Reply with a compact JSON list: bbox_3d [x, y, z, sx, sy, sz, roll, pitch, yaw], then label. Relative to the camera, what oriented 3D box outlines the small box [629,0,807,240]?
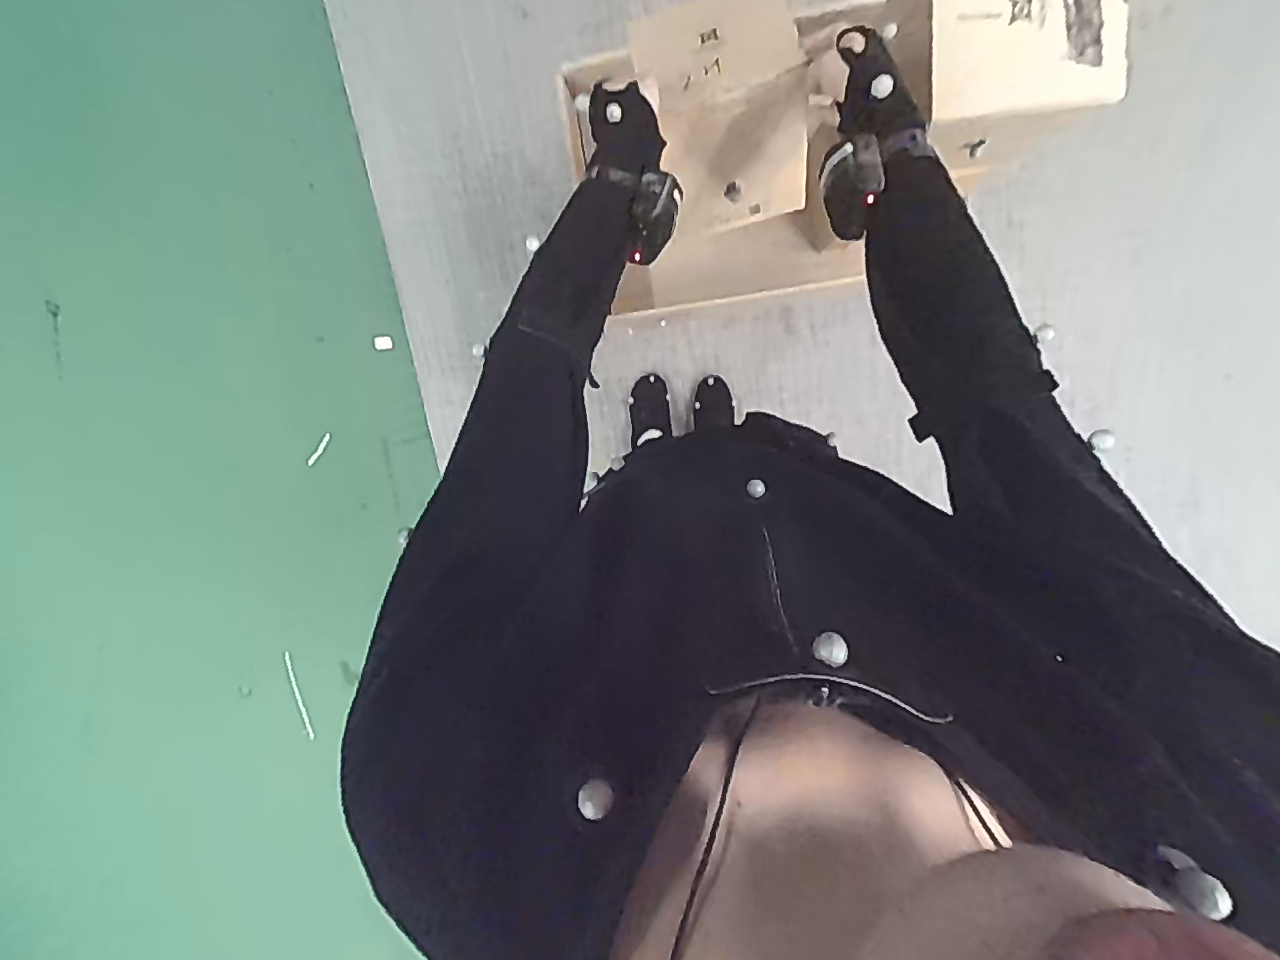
[{"bbox_3d":[0.093,-0.422,0.632,0.168,0.176,0.179,-12,66,12],"label":"small box"}]

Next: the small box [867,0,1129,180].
[{"bbox_3d":[0.357,-0.437,0.567,0.179,0.176,0.168,-4,101,5],"label":"small box"}]
